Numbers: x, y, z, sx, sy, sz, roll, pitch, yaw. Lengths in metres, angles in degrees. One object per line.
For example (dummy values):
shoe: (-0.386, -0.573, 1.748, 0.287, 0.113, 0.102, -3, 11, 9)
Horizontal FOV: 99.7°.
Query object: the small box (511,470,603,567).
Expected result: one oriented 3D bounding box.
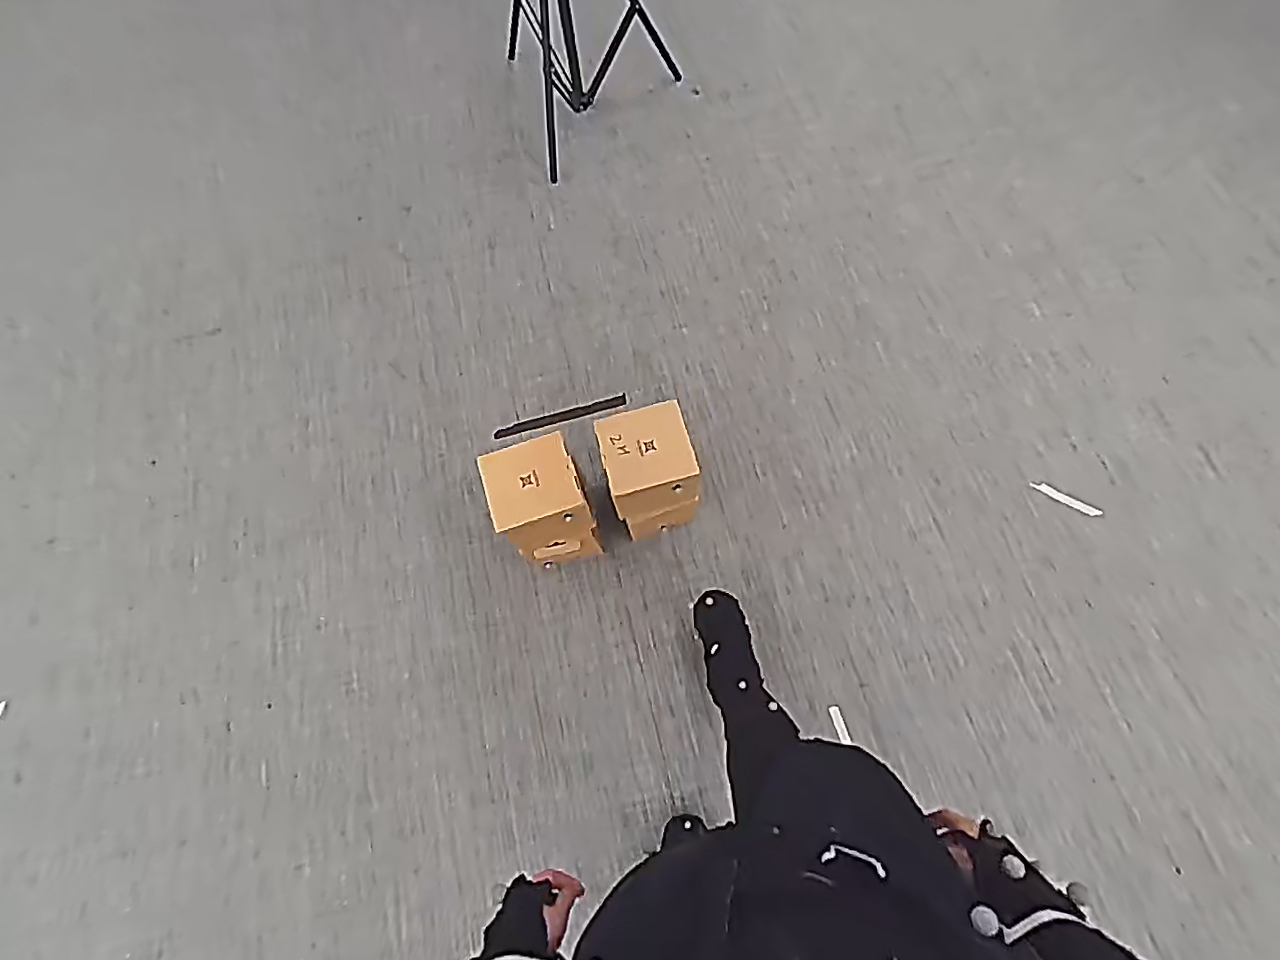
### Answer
small box: (-0.188, 0.098, 1.262, 0.168, 0.176, 0.179, -12, 70, -1)
